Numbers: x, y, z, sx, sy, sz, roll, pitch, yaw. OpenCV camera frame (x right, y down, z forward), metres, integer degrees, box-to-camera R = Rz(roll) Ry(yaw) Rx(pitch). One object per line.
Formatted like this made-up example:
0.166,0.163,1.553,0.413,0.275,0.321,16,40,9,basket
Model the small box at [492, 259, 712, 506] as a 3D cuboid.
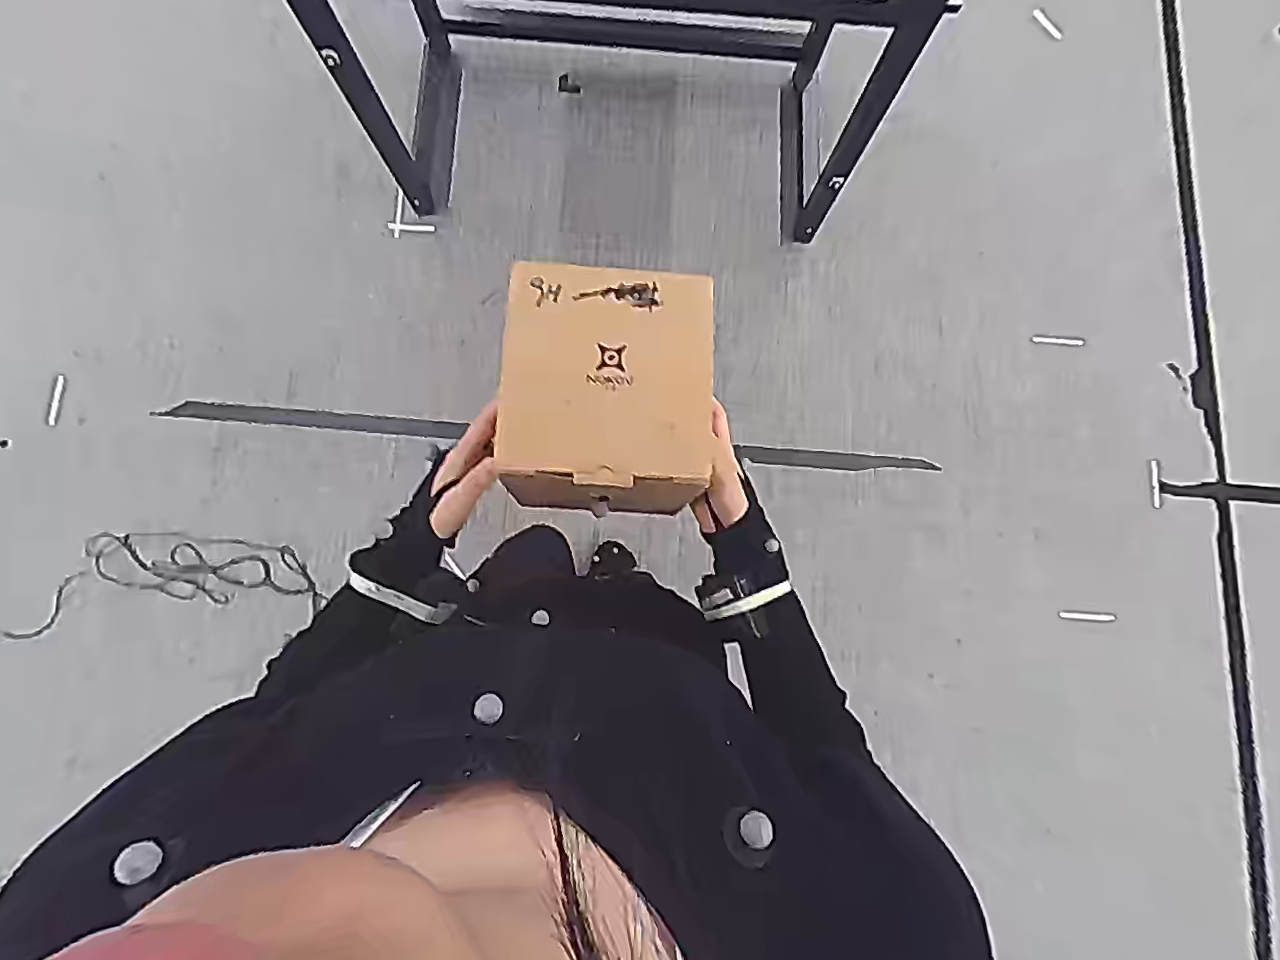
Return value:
-0.034,-0.073,0.503,0.168,0.176,0.179,3,78,-6,small box
